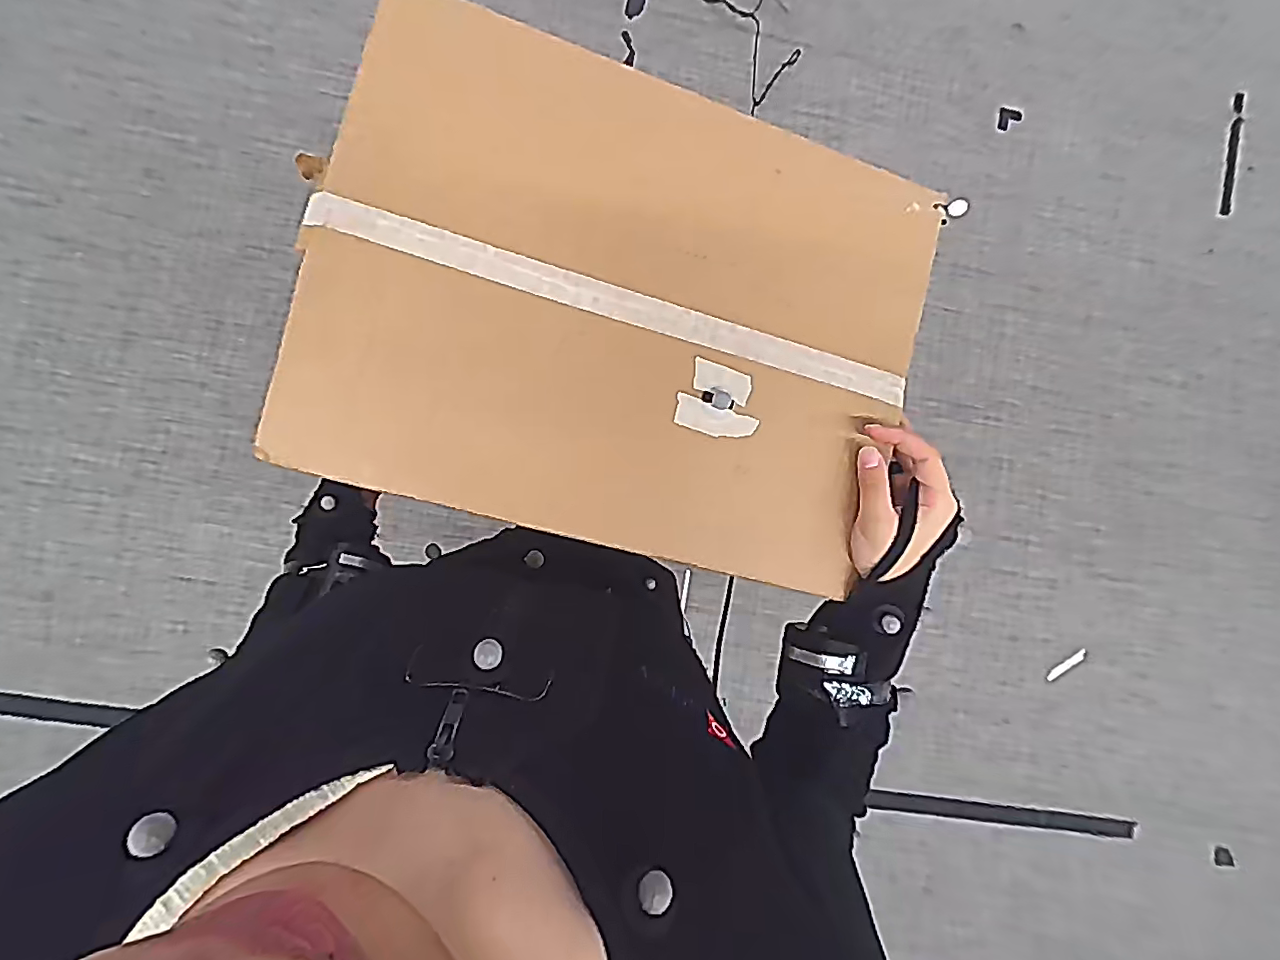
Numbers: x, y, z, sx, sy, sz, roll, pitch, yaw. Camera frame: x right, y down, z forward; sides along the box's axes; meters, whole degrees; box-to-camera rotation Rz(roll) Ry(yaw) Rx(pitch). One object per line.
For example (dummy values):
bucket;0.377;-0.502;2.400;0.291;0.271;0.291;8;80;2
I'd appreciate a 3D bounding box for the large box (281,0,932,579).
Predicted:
large box;-0.028;-0.118;0.516;0.408;0.320;0.320;15;88;-11
